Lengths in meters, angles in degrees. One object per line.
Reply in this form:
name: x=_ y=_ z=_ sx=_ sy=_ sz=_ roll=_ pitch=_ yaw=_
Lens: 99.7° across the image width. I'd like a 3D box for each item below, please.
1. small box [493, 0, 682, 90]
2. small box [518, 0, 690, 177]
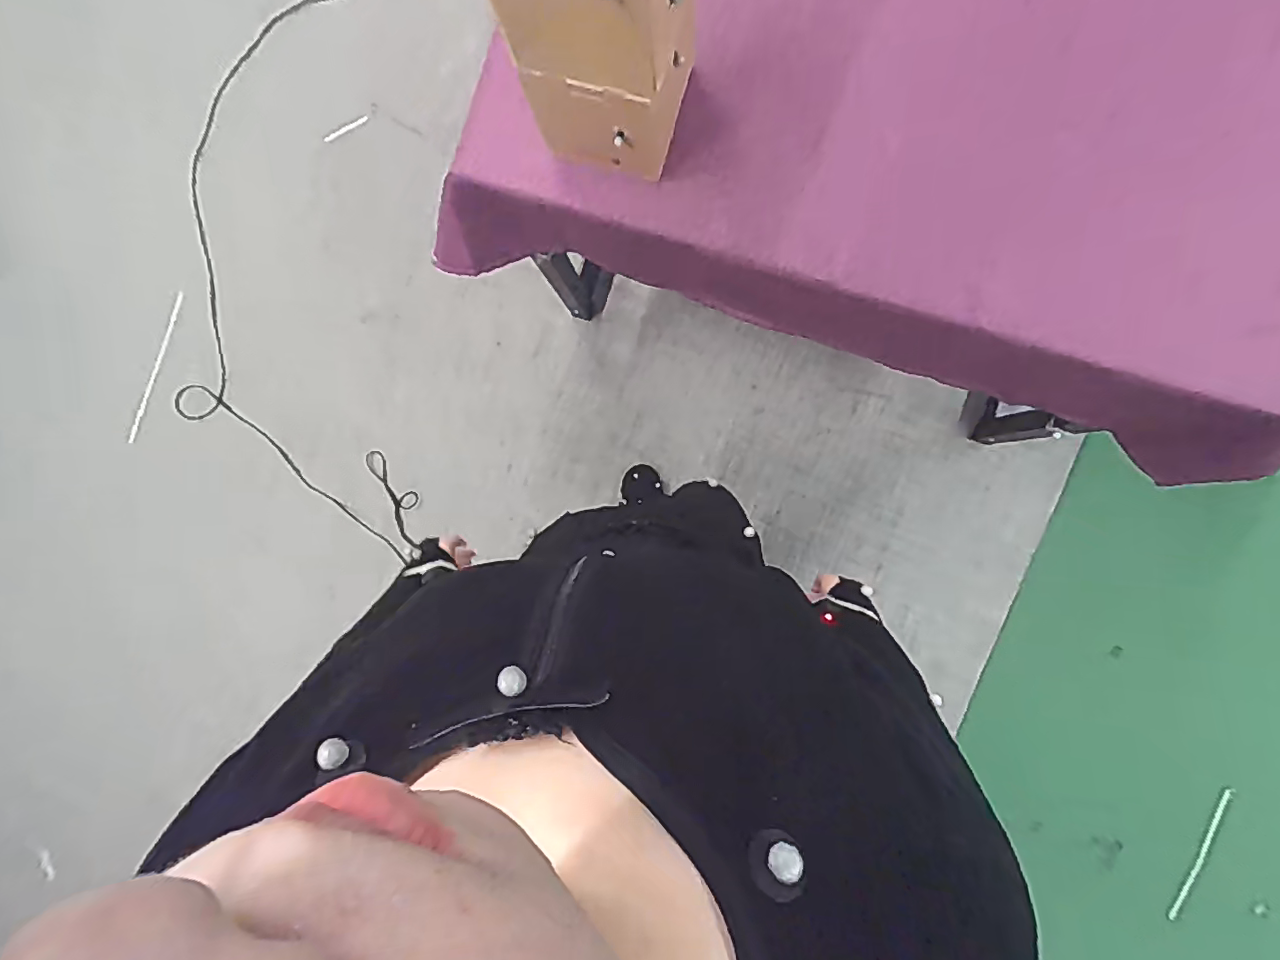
small box: x=-0.050 y=-0.532 z=0.532 sx=0.179 sy=0.176 sz=0.168 roll=15 pitch=91 yaw=2
small box: x=-0.035 y=-0.530 z=0.694 sx=0.168 sy=0.176 sz=0.179 roll=17 pitch=91 yaw=3
